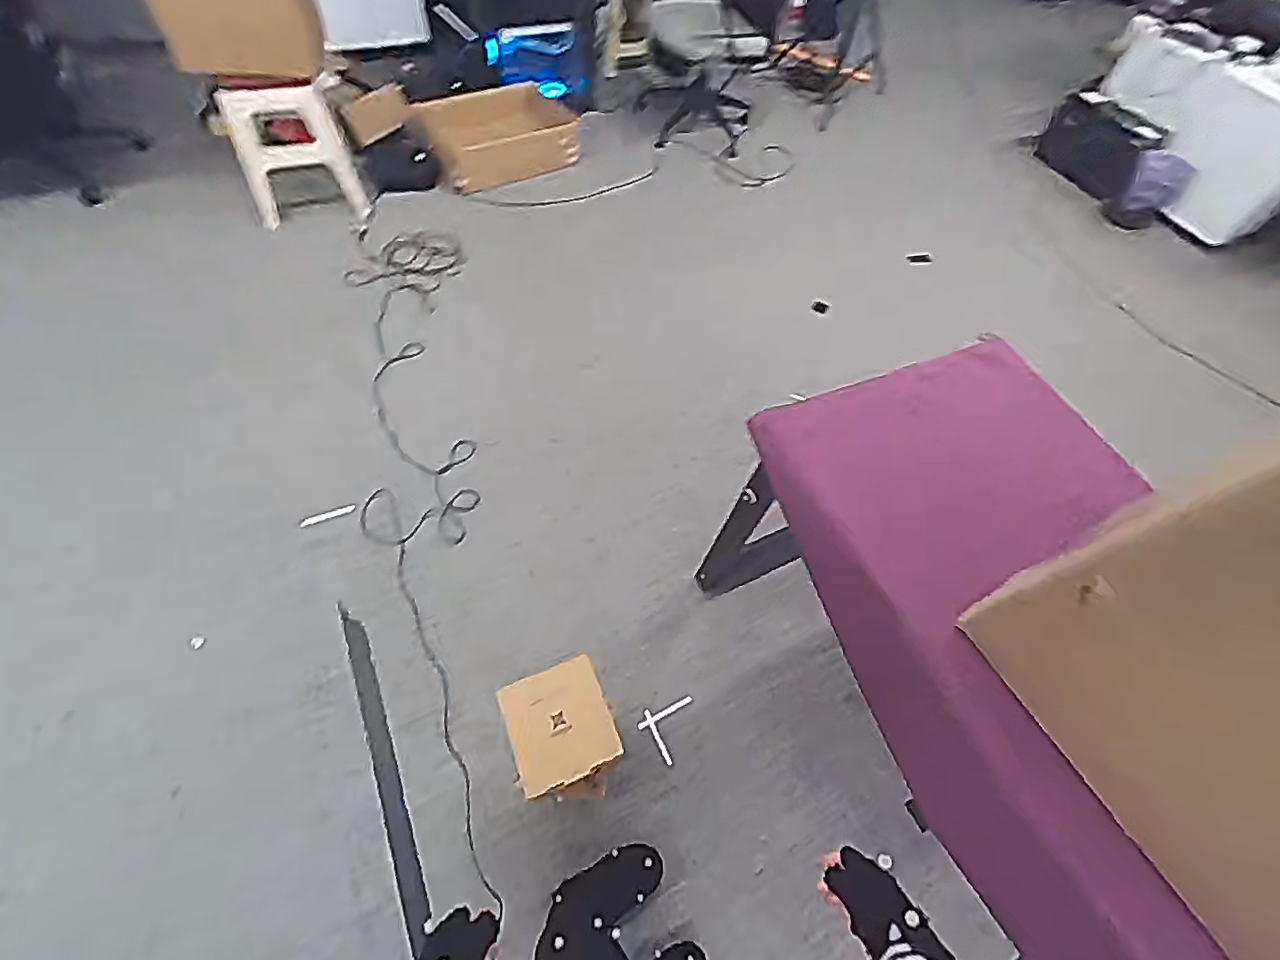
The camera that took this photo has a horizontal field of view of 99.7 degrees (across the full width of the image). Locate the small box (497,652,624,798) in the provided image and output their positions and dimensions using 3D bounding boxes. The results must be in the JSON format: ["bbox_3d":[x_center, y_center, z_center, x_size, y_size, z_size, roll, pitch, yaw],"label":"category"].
[{"bbox_3d":[-0.140,0.430,0.947,0.168,0.176,0.179,-18,63,-19],"label":"small box"}]

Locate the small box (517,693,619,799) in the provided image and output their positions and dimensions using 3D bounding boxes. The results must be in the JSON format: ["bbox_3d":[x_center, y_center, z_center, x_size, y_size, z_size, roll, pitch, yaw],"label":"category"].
[{"bbox_3d":[-0.141,0.525,1.082,0.168,0.176,0.179,9,58,-2],"label":"small box"}]
